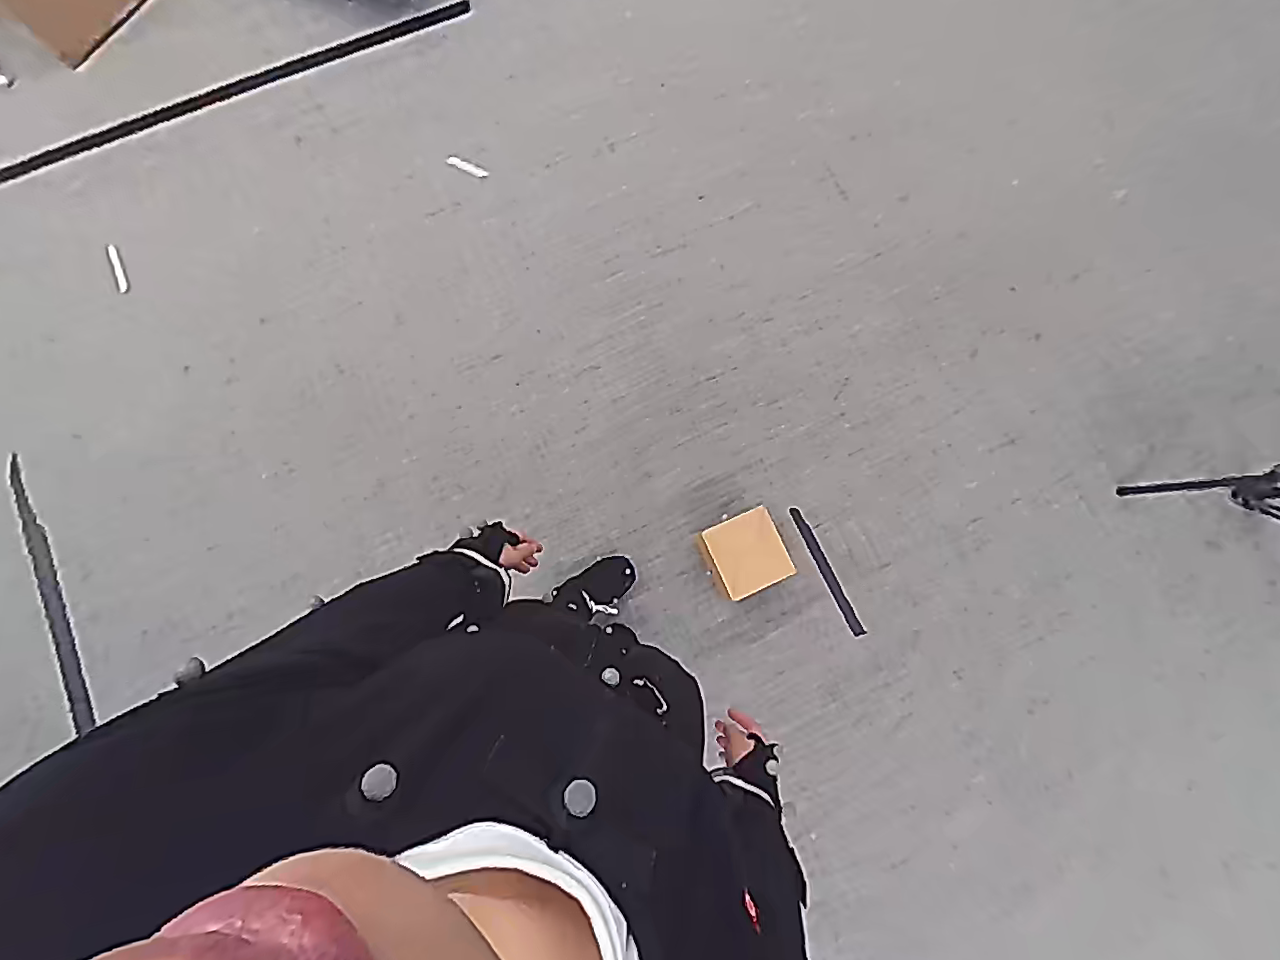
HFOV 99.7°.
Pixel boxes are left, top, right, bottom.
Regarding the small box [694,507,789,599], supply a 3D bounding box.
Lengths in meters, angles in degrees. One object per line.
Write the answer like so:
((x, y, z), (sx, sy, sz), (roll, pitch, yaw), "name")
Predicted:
((0.247, 0.181, 1.325), (0.168, 0.176, 0.179), (-23, 82, -4), "small box")
